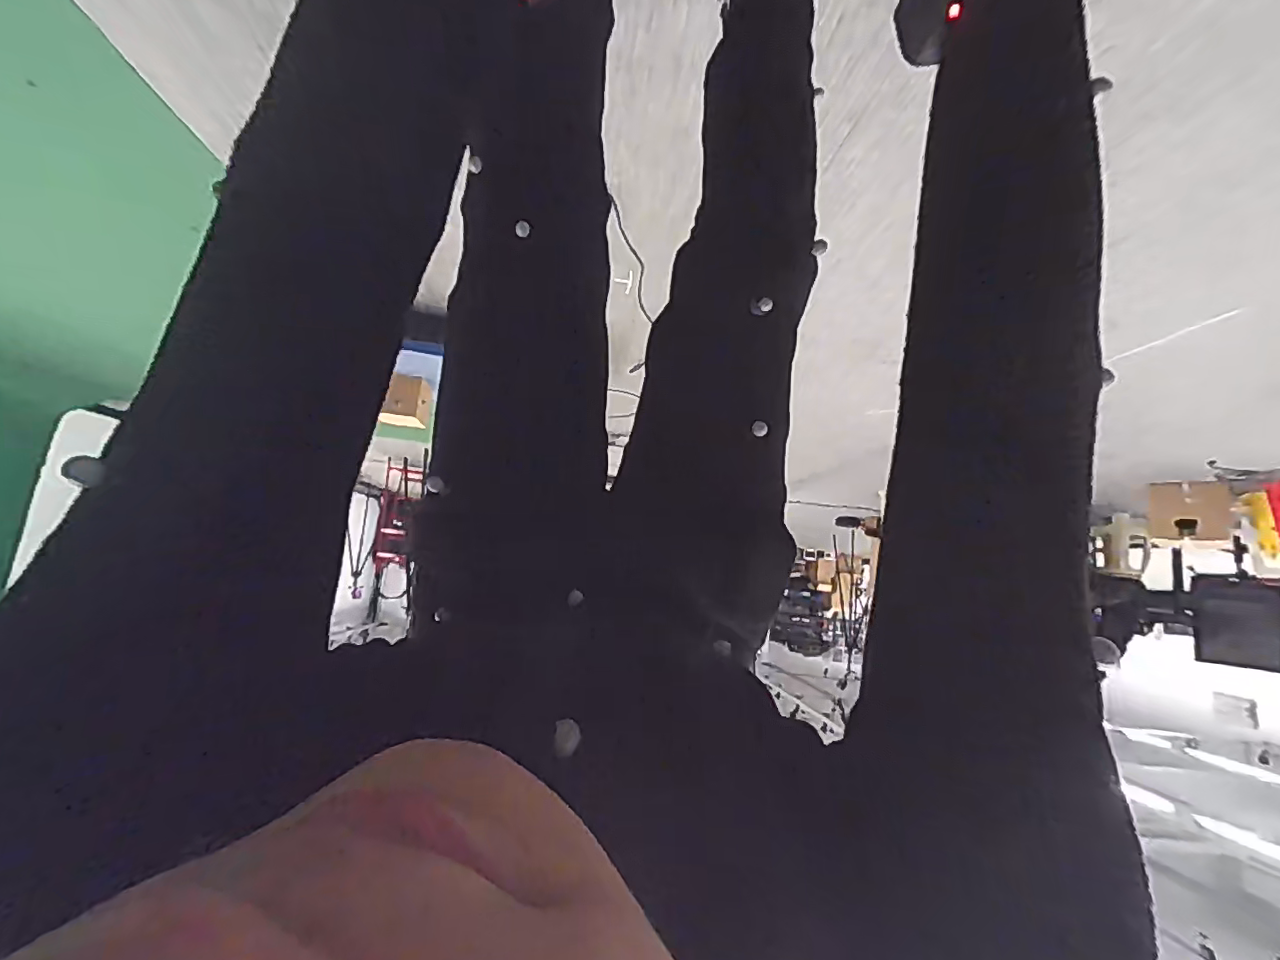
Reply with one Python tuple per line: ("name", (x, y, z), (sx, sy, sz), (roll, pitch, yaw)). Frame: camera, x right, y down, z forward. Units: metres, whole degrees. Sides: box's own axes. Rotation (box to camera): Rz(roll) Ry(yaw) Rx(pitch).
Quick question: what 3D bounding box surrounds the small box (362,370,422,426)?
("small box", (-0.979, -0.325, 2.150), (0.179, 0.176, 0.168), (8, 169, -9))
